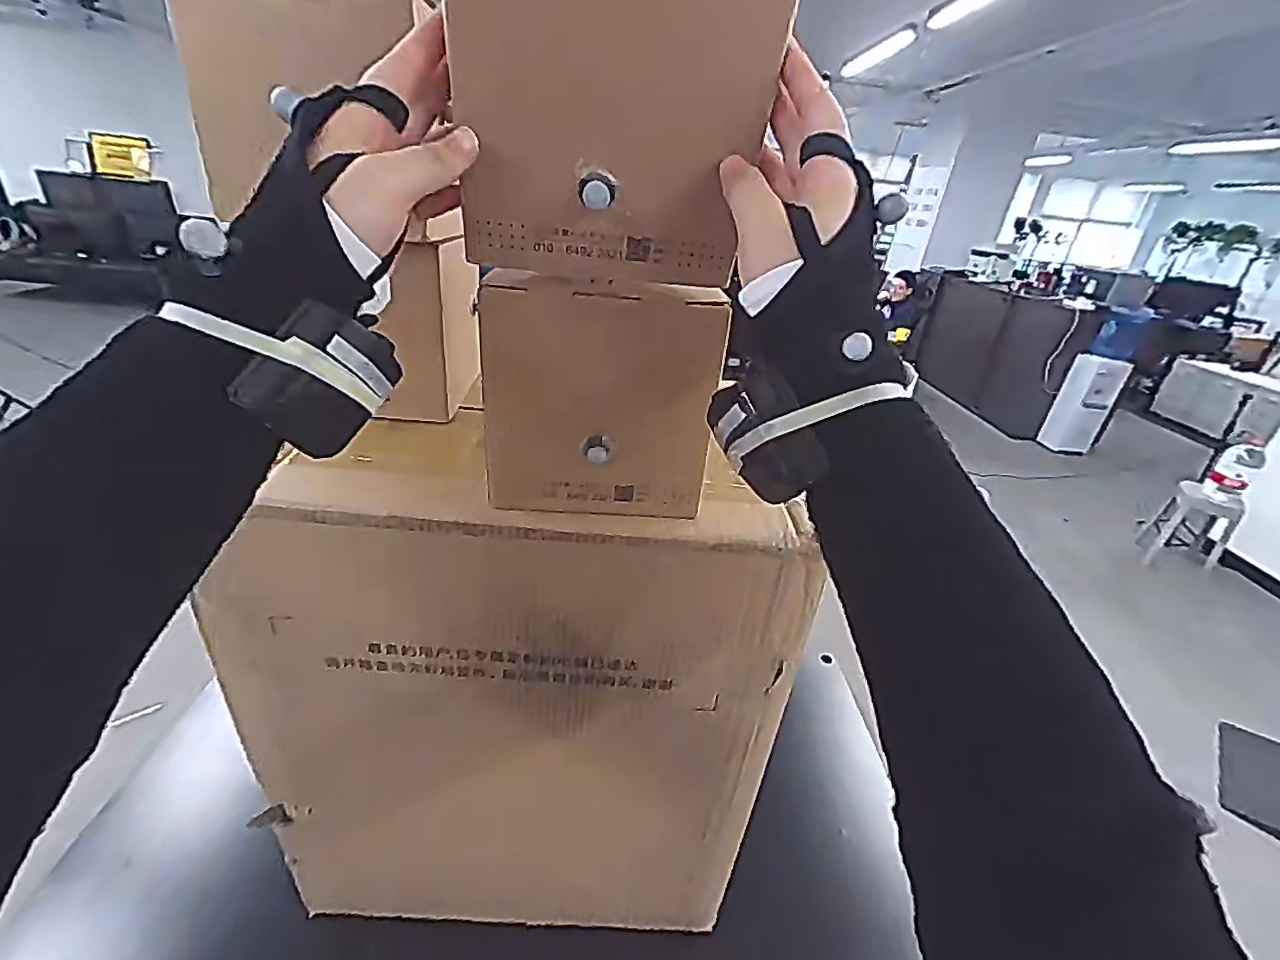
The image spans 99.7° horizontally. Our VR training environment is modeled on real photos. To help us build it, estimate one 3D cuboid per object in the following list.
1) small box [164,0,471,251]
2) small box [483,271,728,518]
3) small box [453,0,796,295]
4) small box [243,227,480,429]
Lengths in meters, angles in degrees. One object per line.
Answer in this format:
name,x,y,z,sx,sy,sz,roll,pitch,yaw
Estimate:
small box,-0.250,-0.304,0.476,0.168,0.176,0.179,4,28,-6
small box,-0.032,-0.086,0.463,0.168,0.176,0.179,3,29,-4
small box,-0.019,-0.242,0.348,0.168,0.176,0.179,2,44,-7
small box,-0.265,-0.167,0.565,0.168,0.176,0.179,2,28,-7
